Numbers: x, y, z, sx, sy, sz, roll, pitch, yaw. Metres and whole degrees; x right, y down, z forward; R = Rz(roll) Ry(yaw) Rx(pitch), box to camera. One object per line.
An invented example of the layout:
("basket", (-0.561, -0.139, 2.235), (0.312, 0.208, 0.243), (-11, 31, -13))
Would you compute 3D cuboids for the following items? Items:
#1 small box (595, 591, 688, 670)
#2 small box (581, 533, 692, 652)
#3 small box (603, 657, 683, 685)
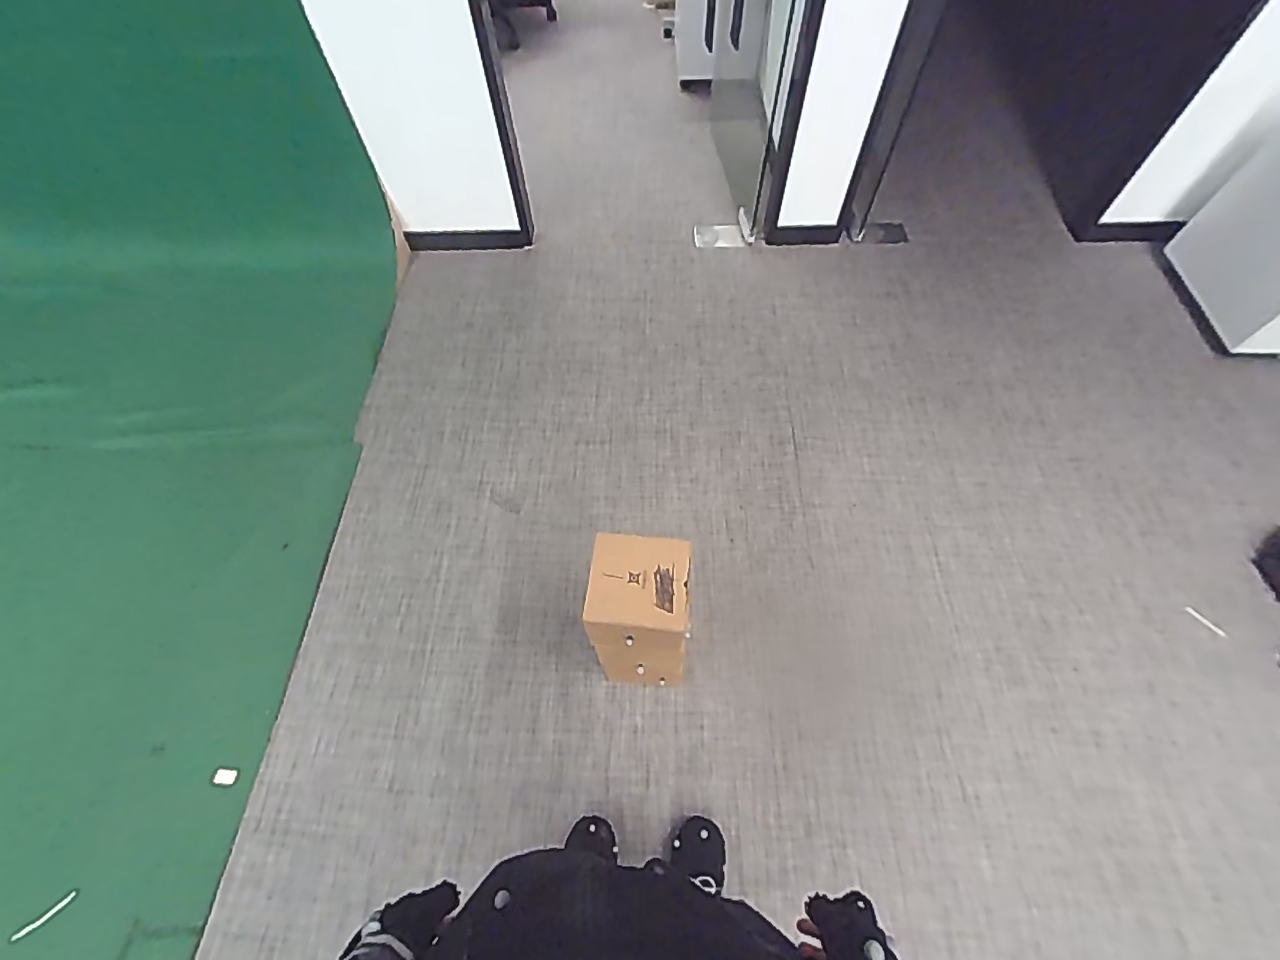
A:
("small box", (0.006, 0.300, 1.154), (0.179, 0.176, 0.168), (4, 59, 3))
("small box", (0.000, 0.215, 1.013), (0.179, 0.176, 0.168), (5, 59, 6))
("small box", (0.013, 0.387, 1.293), (0.179, 0.176, 0.168), (2, 59, 4))
